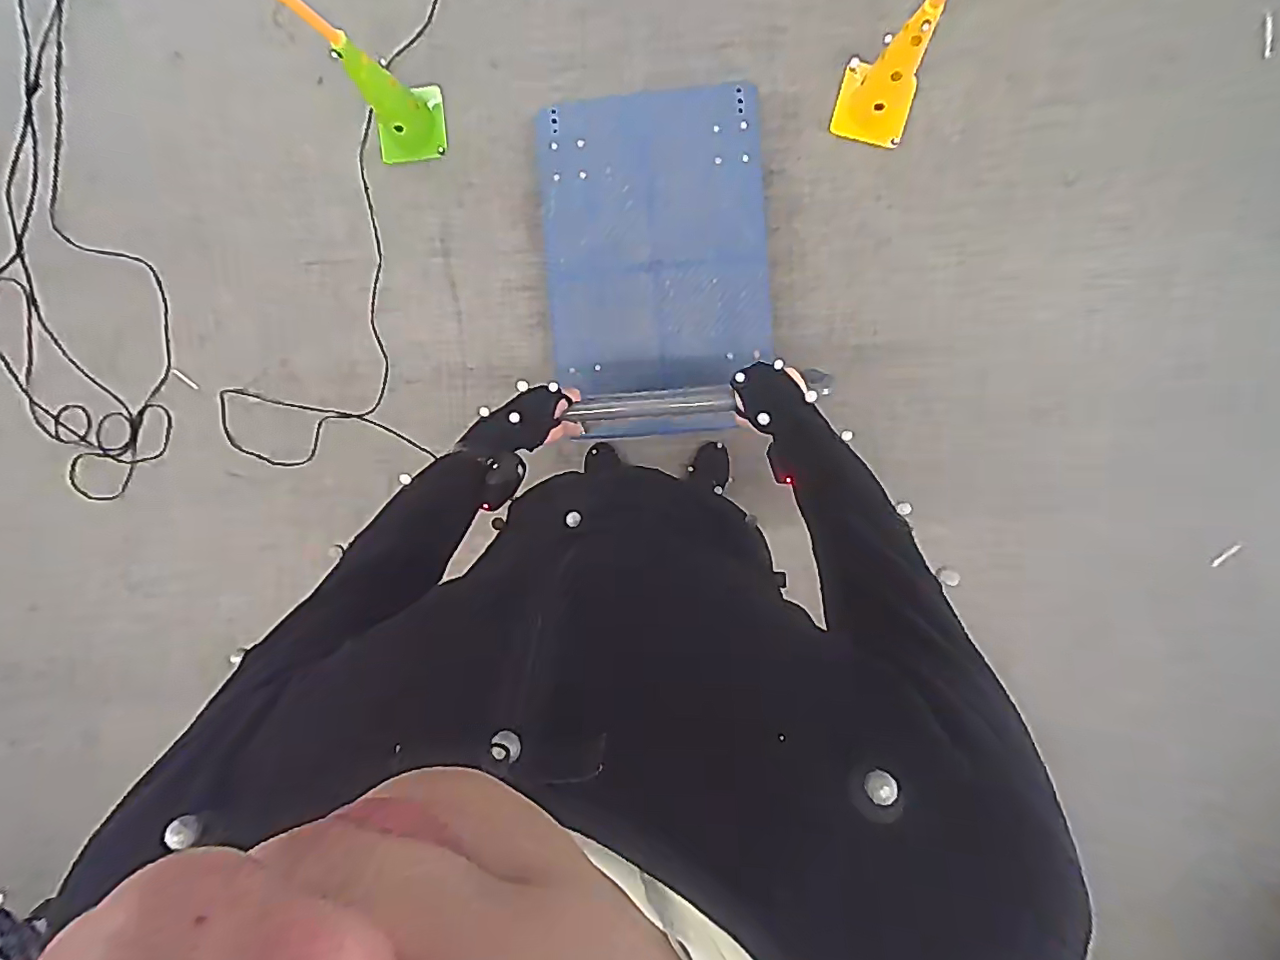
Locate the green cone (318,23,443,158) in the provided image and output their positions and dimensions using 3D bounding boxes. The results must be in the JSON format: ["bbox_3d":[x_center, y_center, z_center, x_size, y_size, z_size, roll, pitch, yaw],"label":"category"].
[{"bbox_3d":[-0.693,-1.039,1.405,0.202,0.368,0.200,-5,94,6],"label":"green cone"}]
